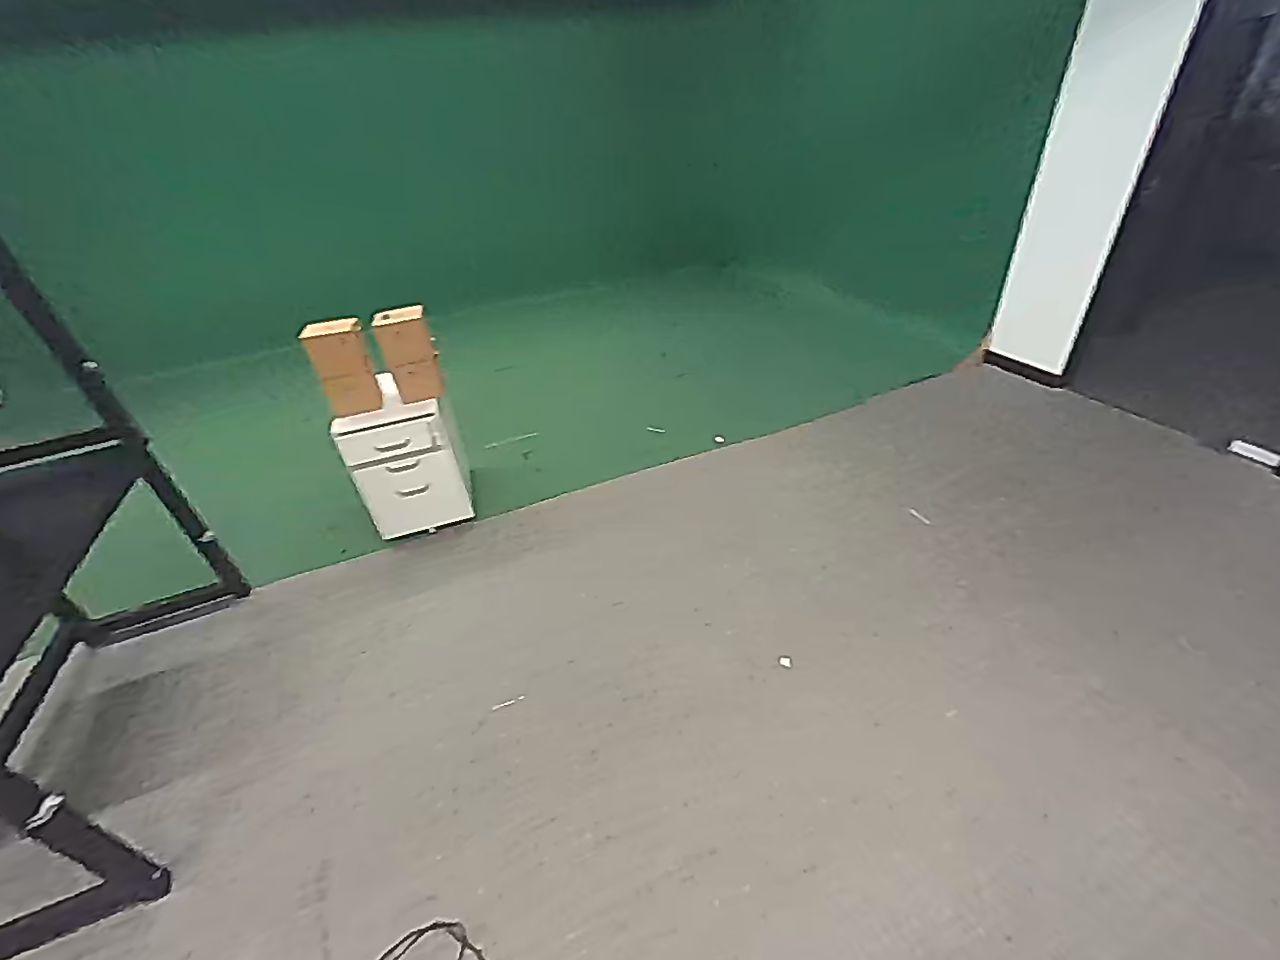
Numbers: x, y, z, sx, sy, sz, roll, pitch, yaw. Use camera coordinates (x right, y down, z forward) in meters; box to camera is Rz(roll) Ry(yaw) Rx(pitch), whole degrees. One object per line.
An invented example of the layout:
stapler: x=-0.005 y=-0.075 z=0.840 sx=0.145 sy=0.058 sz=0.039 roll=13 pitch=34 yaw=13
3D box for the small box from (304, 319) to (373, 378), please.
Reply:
small box: x=-1.159 y=-0.506 z=2.089 sx=0.179 sy=0.176 sz=0.168 roll=-13 pitch=35 yaw=-12

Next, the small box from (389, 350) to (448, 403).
small box: x=-0.904 y=-0.431 z=2.222 sx=0.179 sy=0.176 sz=0.168 roll=-14 pitch=37 yaw=-9

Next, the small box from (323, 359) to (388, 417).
small box: x=-1.144 y=-0.372 z=2.182 sx=0.179 sy=0.176 sz=0.168 roll=-15 pitch=36 yaw=-12

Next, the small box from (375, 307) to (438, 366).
small box: x=-0.913 y=-0.562 z=2.124 sx=0.179 sy=0.176 sz=0.168 roll=-14 pitch=36 yaw=-10
